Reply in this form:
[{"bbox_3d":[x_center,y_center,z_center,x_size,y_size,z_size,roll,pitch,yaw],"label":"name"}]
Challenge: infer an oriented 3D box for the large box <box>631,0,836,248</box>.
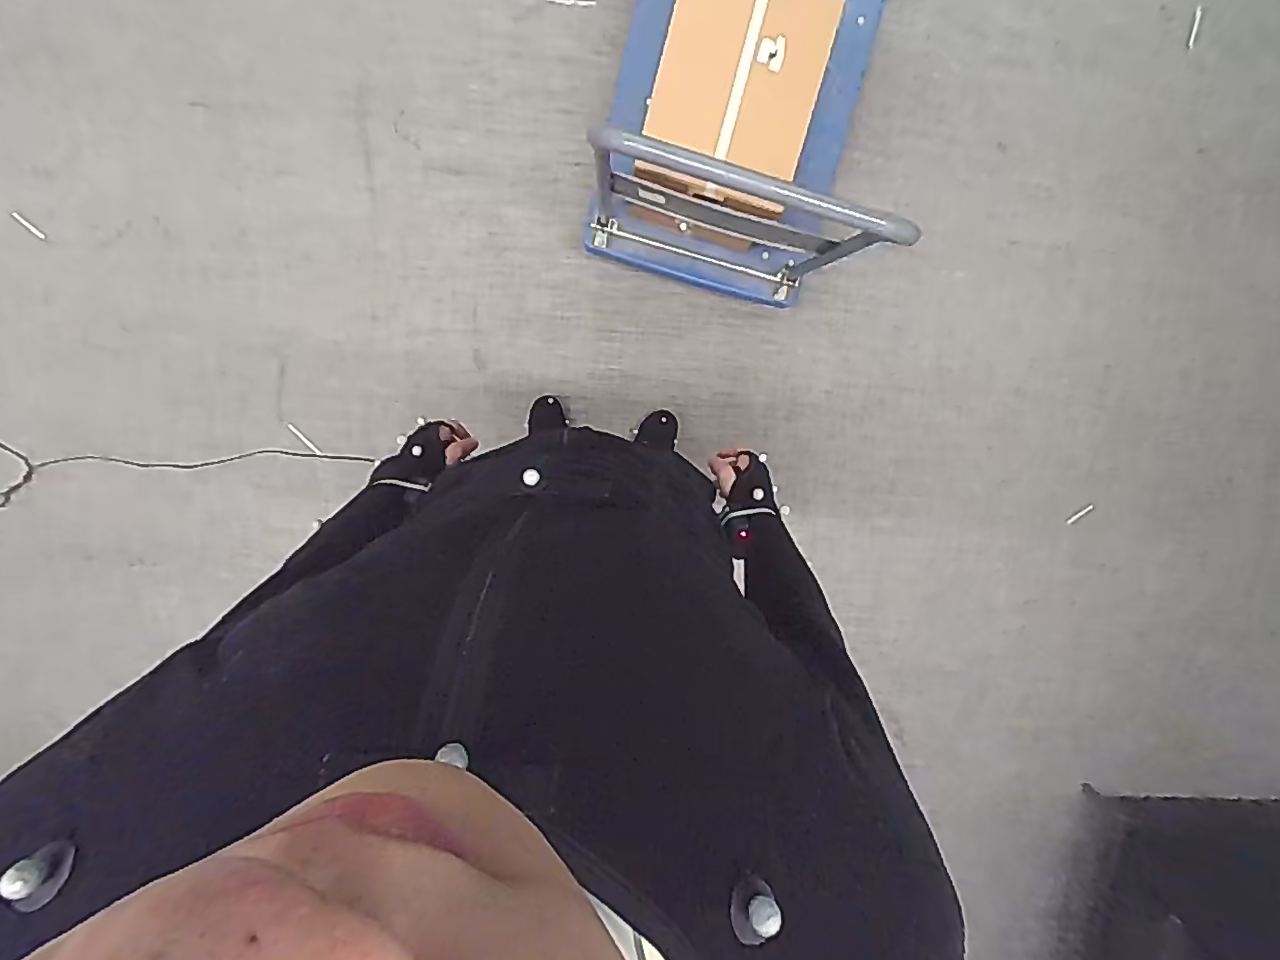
[{"bbox_3d":[0.176,-0.790,1.196,0.320,0.320,0.408,14,97,-6],"label":"large box"}]
